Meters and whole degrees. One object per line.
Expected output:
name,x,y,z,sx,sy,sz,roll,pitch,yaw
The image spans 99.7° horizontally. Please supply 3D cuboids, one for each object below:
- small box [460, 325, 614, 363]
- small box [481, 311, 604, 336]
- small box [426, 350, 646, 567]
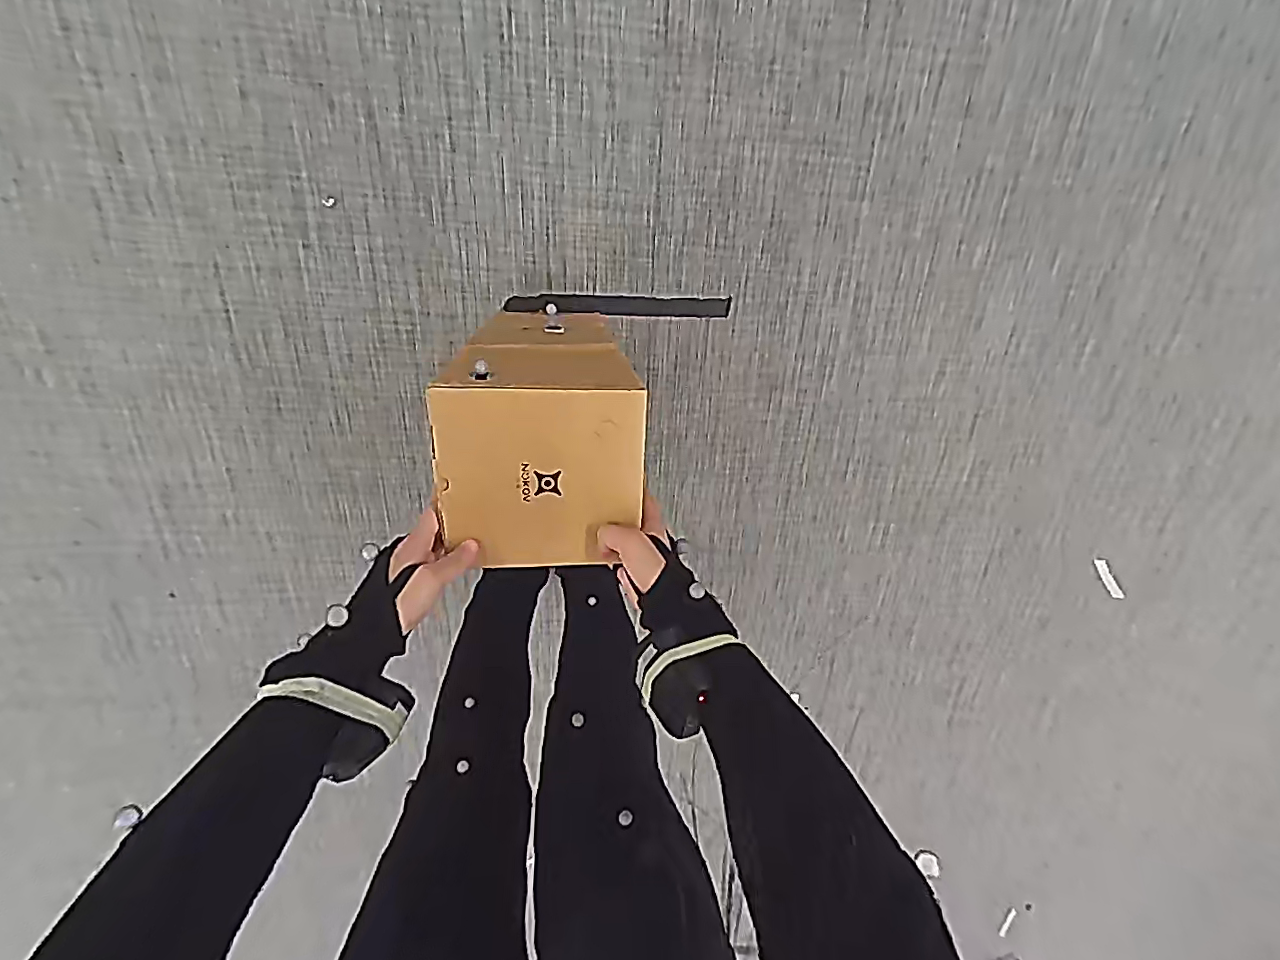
small box,-0.119,-0.095,0.681,0.168,0.176,0.179,-3,112,-7
small box,-0.140,-0.158,0.828,0.168,0.176,0.179,-2,113,-7
small box,-0.094,-0.031,0.533,0.179,0.176,0.168,-1,114,-7
